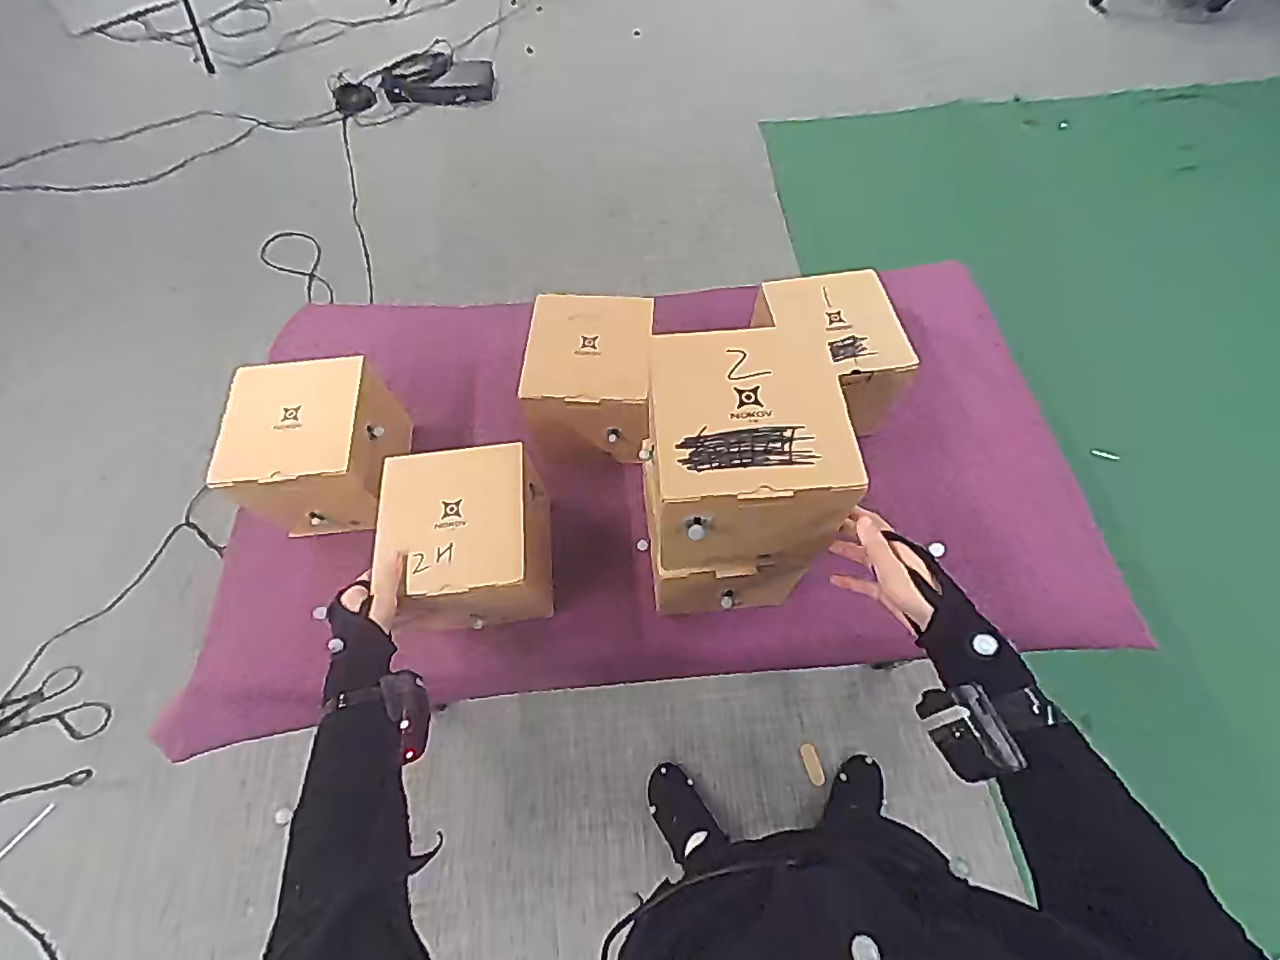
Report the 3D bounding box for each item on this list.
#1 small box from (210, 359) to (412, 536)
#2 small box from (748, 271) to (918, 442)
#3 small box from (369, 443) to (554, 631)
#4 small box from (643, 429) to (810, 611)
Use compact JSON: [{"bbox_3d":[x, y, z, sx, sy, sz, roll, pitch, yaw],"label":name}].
[{"bbox_3d":[-0.428,-0.040,0.740,0.168,0.176,0.179,-6,64,-2],"label":"small box"},{"bbox_3d":[0.262,-0.168,0.783,0.168,0.176,0.179,-8,62,-2],"label":"small box"},{"bbox_3d":[-0.205,0.076,0.670,0.168,0.176,0.179,-6,64,1],"label":"small box"},{"bbox_3d":[0.095,0.059,0.673,0.168,0.176,0.179,-5,62,-1],"label":"small box"}]
